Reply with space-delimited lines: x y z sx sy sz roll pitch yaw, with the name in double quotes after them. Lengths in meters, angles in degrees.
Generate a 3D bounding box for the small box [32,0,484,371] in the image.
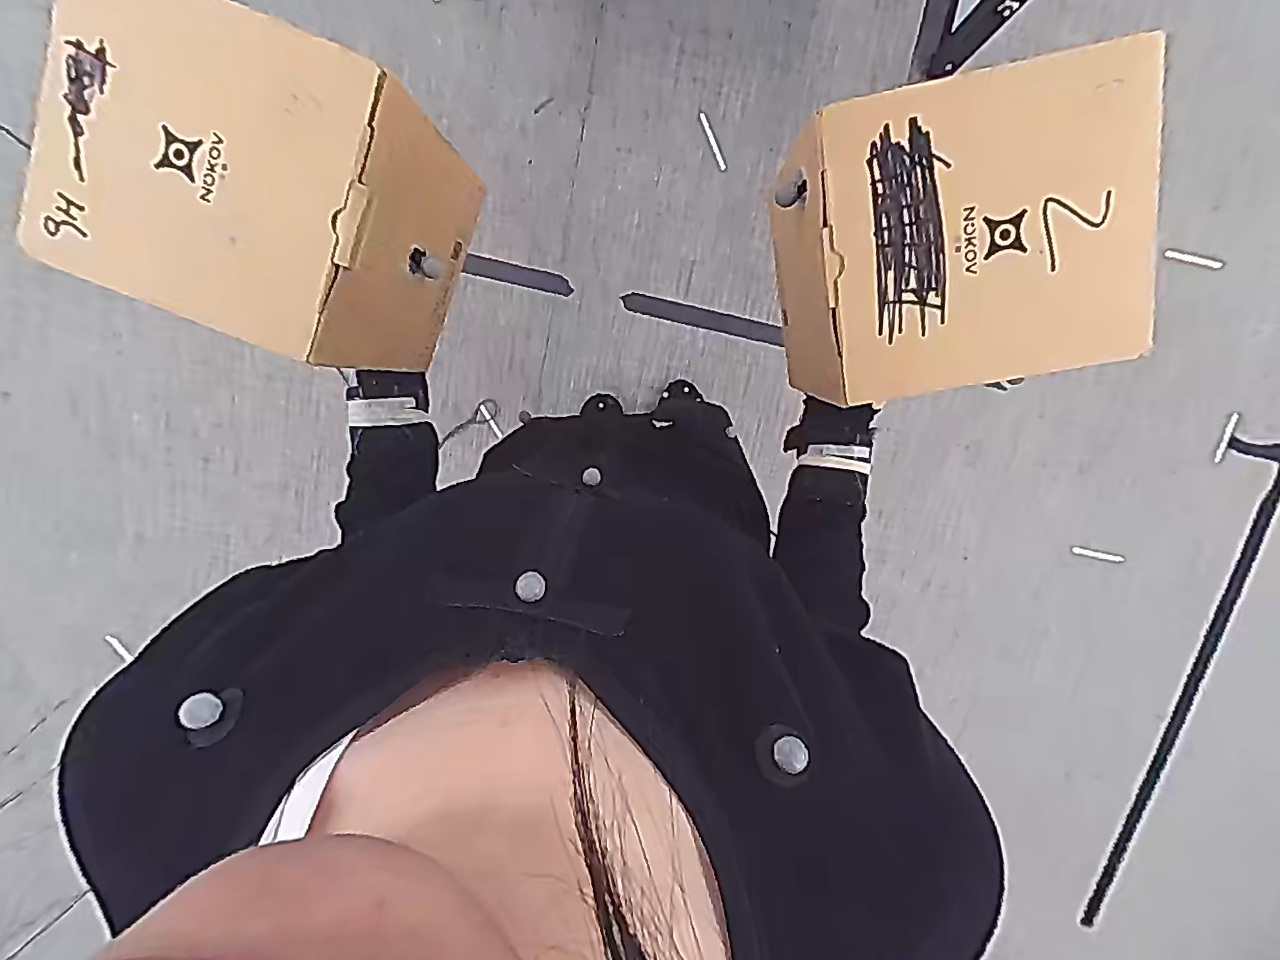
-0.230 -0.185 0.373 0.179 0.176 0.168 22 100 -3 "small box"
